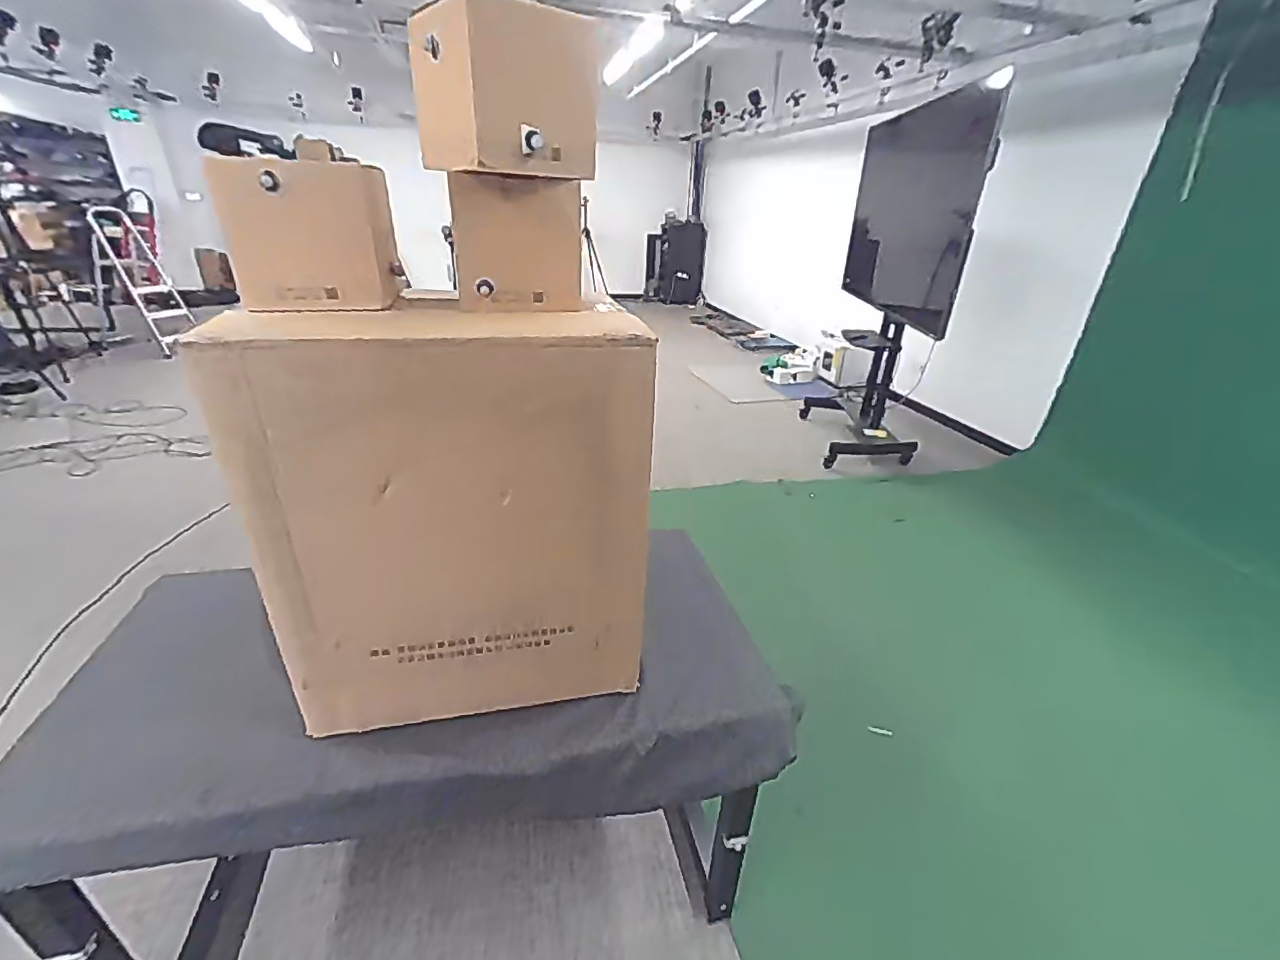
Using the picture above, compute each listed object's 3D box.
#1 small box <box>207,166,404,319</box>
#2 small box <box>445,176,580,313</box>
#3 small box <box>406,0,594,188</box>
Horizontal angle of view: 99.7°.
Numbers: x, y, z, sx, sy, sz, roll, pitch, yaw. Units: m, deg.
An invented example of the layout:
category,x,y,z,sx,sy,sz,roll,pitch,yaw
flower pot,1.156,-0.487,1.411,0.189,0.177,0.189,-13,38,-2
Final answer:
category,x,y,z,sx,sy,sz,roll,pitch,yaw
small box,-0.426,-0.316,0.726,0.168,0.176,0.179,-6,28,-13
small box,-0.183,-0.339,0.781,0.168,0.176,0.179,-6,29,-16
small box,-0.174,-0.469,0.683,0.168,0.176,0.179,-21,37,-34
